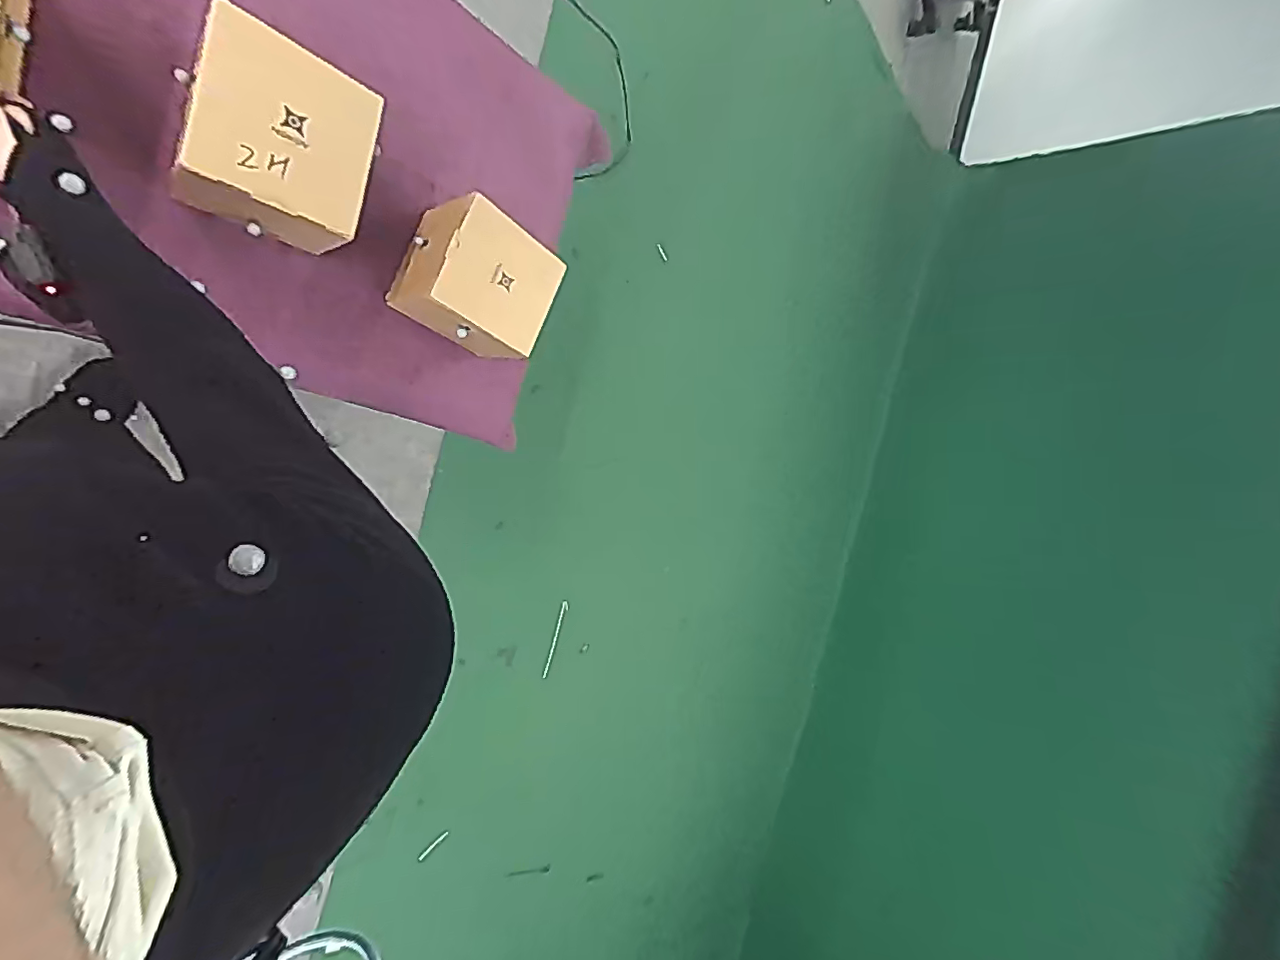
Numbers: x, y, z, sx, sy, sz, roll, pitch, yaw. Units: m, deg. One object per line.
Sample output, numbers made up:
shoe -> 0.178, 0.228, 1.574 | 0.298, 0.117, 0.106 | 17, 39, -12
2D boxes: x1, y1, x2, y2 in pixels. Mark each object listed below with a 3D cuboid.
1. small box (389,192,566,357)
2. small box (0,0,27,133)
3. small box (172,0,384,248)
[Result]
small box -> -0.254, -0.310, 0.845 | 0.179, 0.176, 0.168 | 27, 83, -44
small box -> -0.637, -0.426, 0.440 | 0.168, 0.176, 0.179 | 8, 94, -46
small box -> -0.435, -0.402, 0.644 | 0.168, 0.176, 0.179 | 12, 93, -44
